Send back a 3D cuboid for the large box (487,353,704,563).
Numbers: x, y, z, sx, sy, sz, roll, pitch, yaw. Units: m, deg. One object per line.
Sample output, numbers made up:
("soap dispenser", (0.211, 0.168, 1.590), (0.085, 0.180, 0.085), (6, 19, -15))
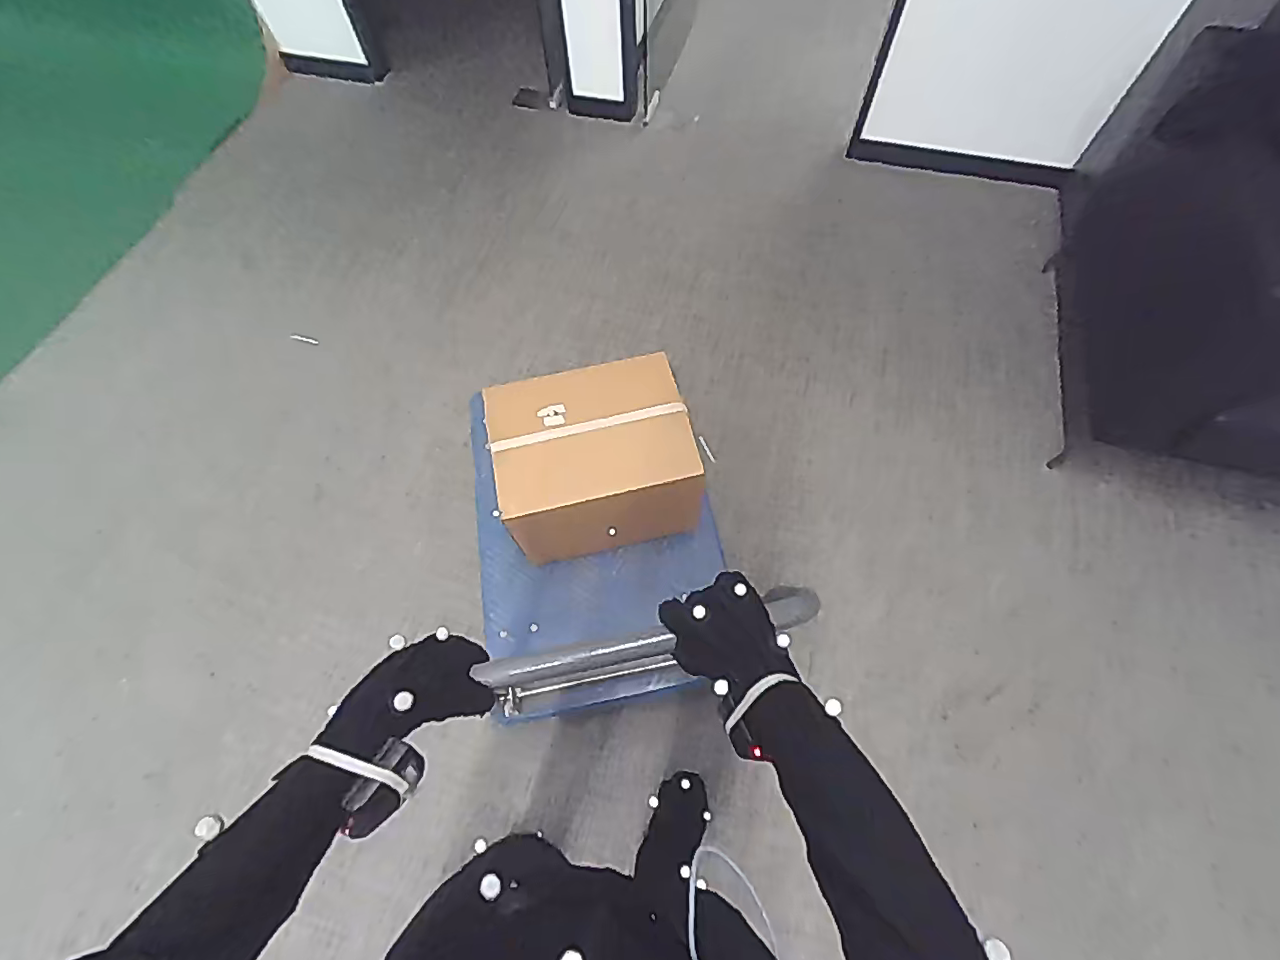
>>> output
("large box", (-0.094, -0.037, 1.250), (0.408, 0.320, 0.320), (-14, 64, -4))
